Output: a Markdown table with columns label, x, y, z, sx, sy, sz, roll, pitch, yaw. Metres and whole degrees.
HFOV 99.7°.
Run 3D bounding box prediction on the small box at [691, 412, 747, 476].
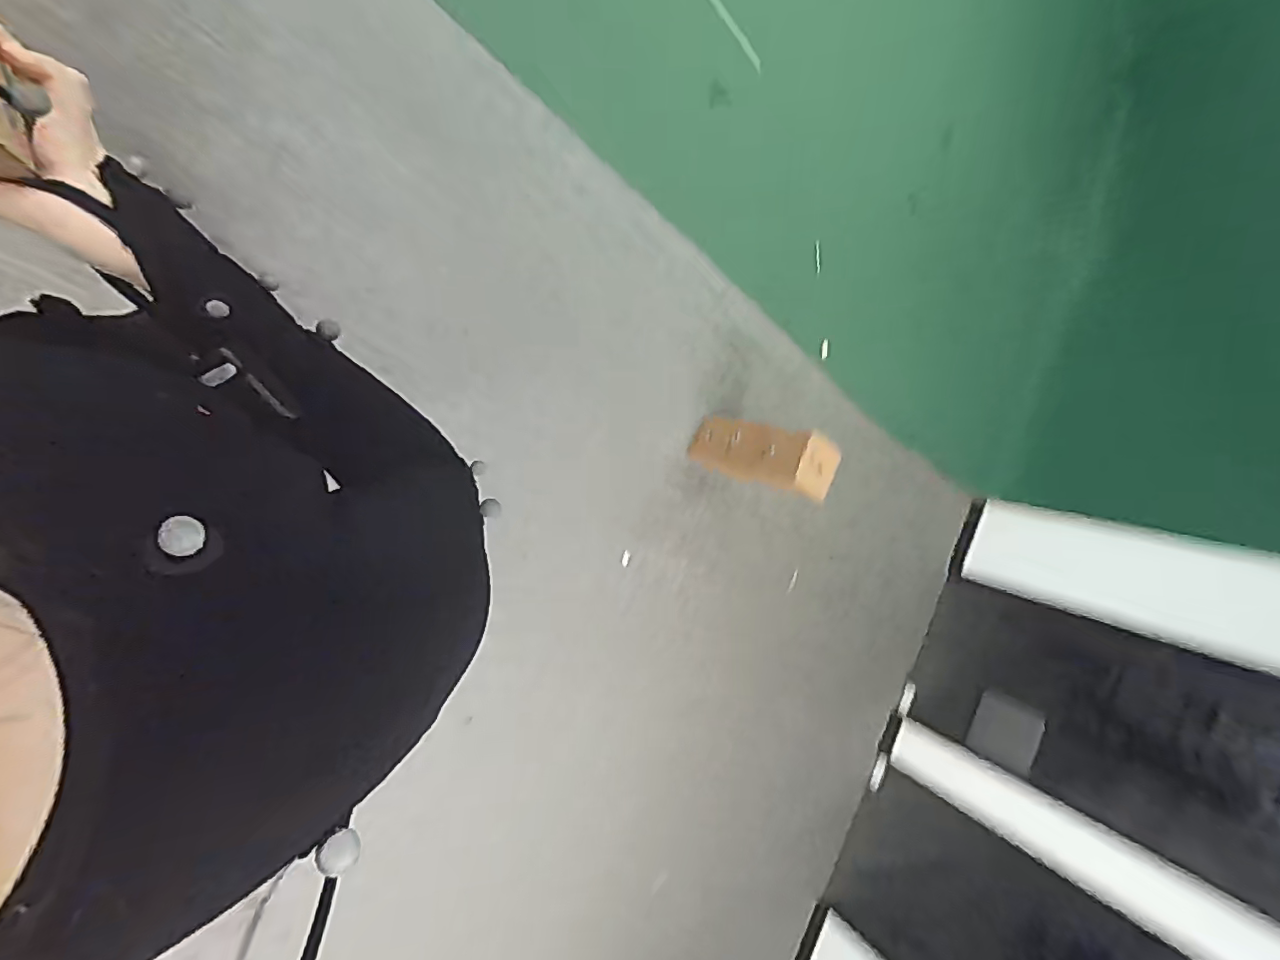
| label | x | y | z | sx | sy | sz | roll | pitch | yaw |
| --- | --- | --- | --- | --- | --- | --- | --- | --- | --- |
| small box | 0.315 | -0.135 | 1.949 | 0.179 | 0.176 | 0.168 | 32 | 83 | -36 |

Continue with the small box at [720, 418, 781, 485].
| label | x | y | z | sx | sy | sz | roll | pitch | yaw |
| --- | --- | --- | --- | --- | --- | --- | --- | --- | --- |
| small box | 0.404 | -0.101 | 1.818 | 0.179 | 0.176 | 0.168 | 28 | 84 | -36 |

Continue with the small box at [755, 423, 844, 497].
| label | x | y | z | sx | sy | sz | roll | pitch | yaw |
| --- | --- | --- | --- | --- | --- | --- | --- | --- | --- |
| small box | 0.495 | -0.068 | 1.683 | 0.179 | 0.176 | 0.168 | 28 | 83 | -37 |
